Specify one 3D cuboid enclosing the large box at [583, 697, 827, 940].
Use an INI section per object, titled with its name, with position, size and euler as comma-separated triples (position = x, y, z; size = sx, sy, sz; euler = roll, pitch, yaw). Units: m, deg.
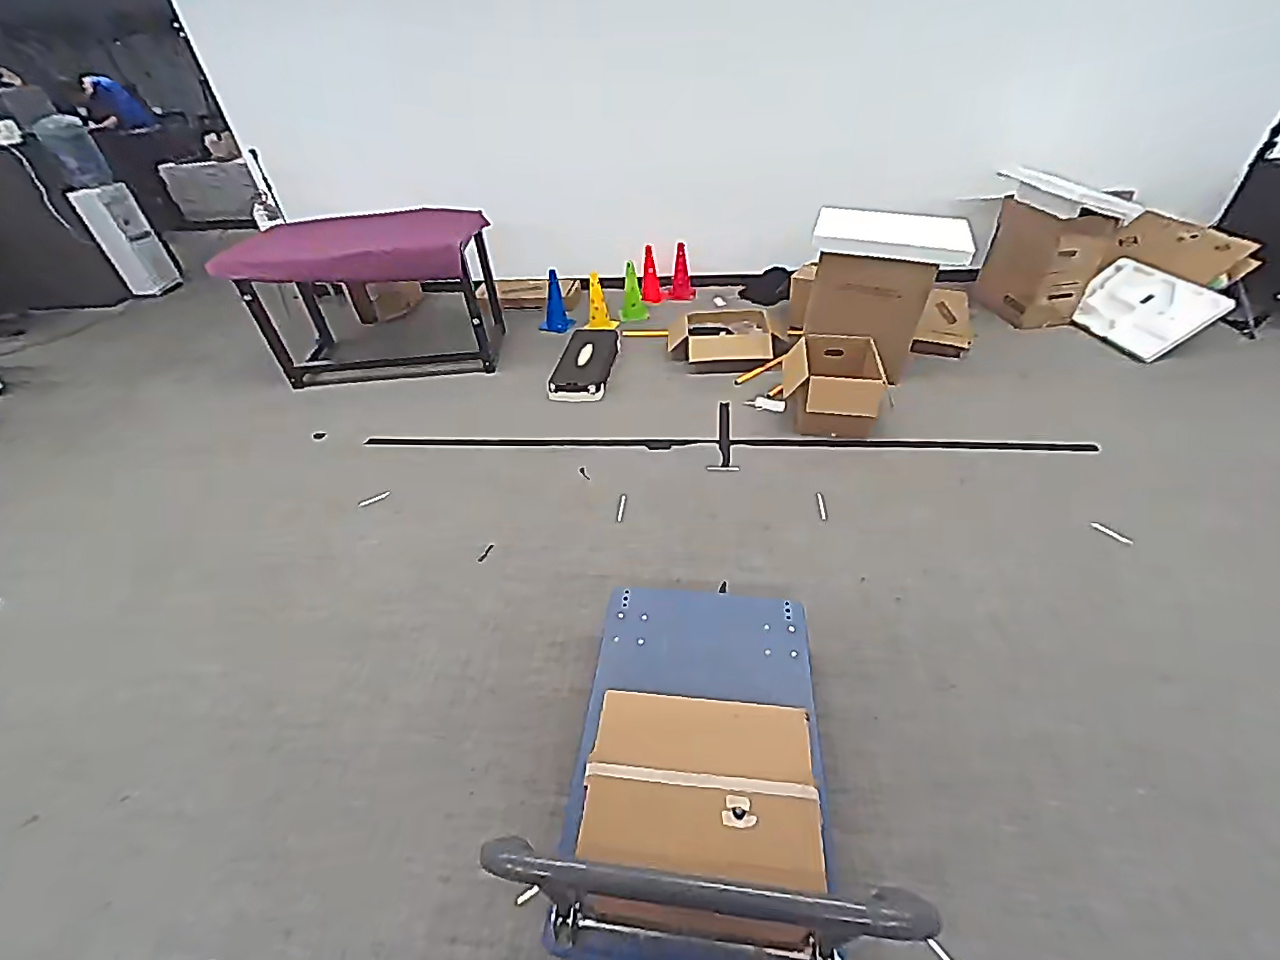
[large box]
position = 0.118, 0.667, 1.077
size = 0.408, 0.320, 0.320
euler = 3, 41, 6
